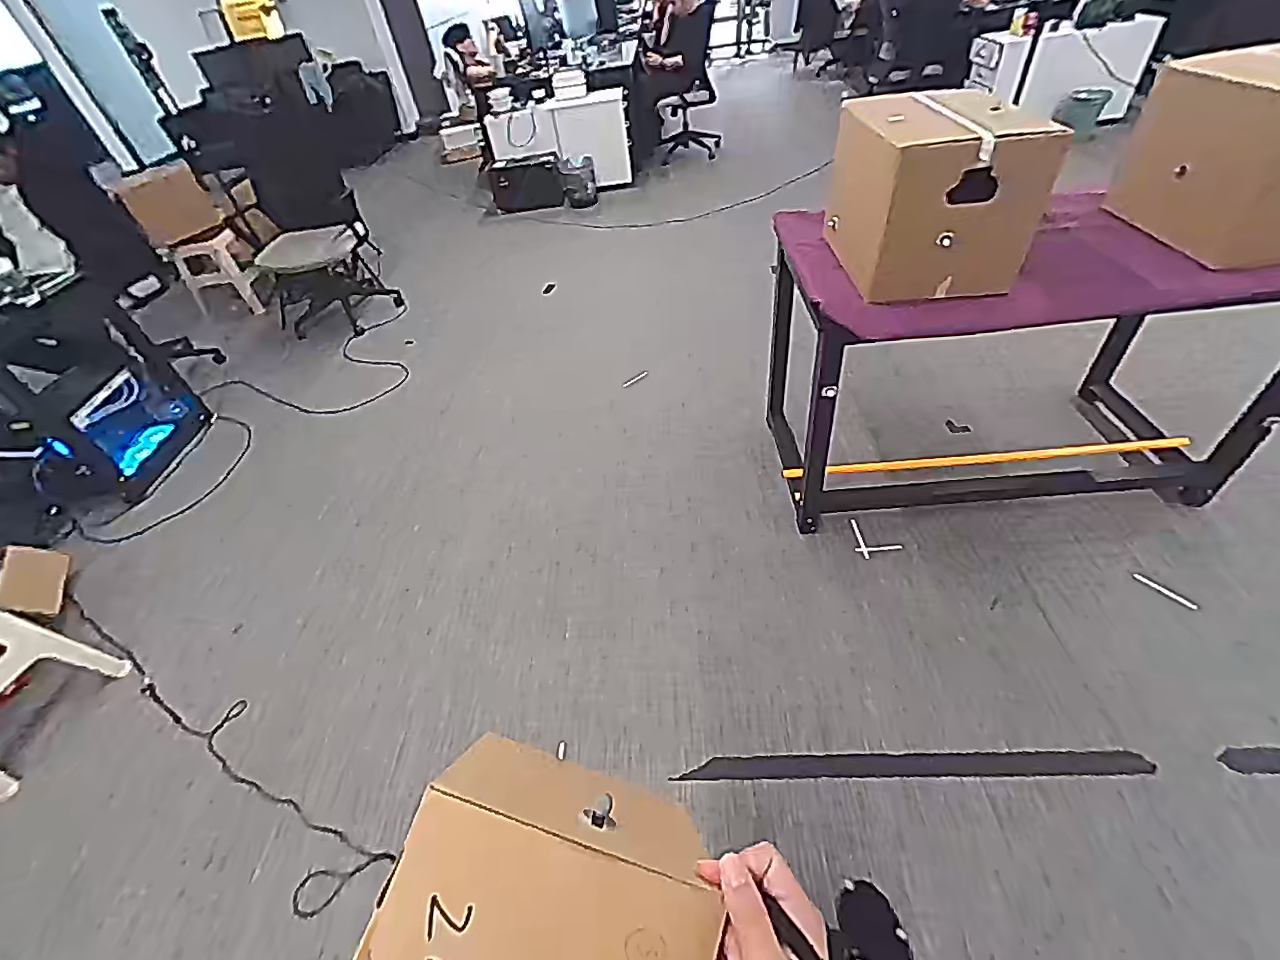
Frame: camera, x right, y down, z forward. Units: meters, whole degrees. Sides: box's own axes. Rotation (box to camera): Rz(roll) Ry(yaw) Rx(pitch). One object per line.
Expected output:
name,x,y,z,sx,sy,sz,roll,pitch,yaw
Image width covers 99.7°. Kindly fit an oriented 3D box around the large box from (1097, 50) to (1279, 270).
large box,1.328,-0.693,1.164,0.320,0.320,0.408,-5,43,4
